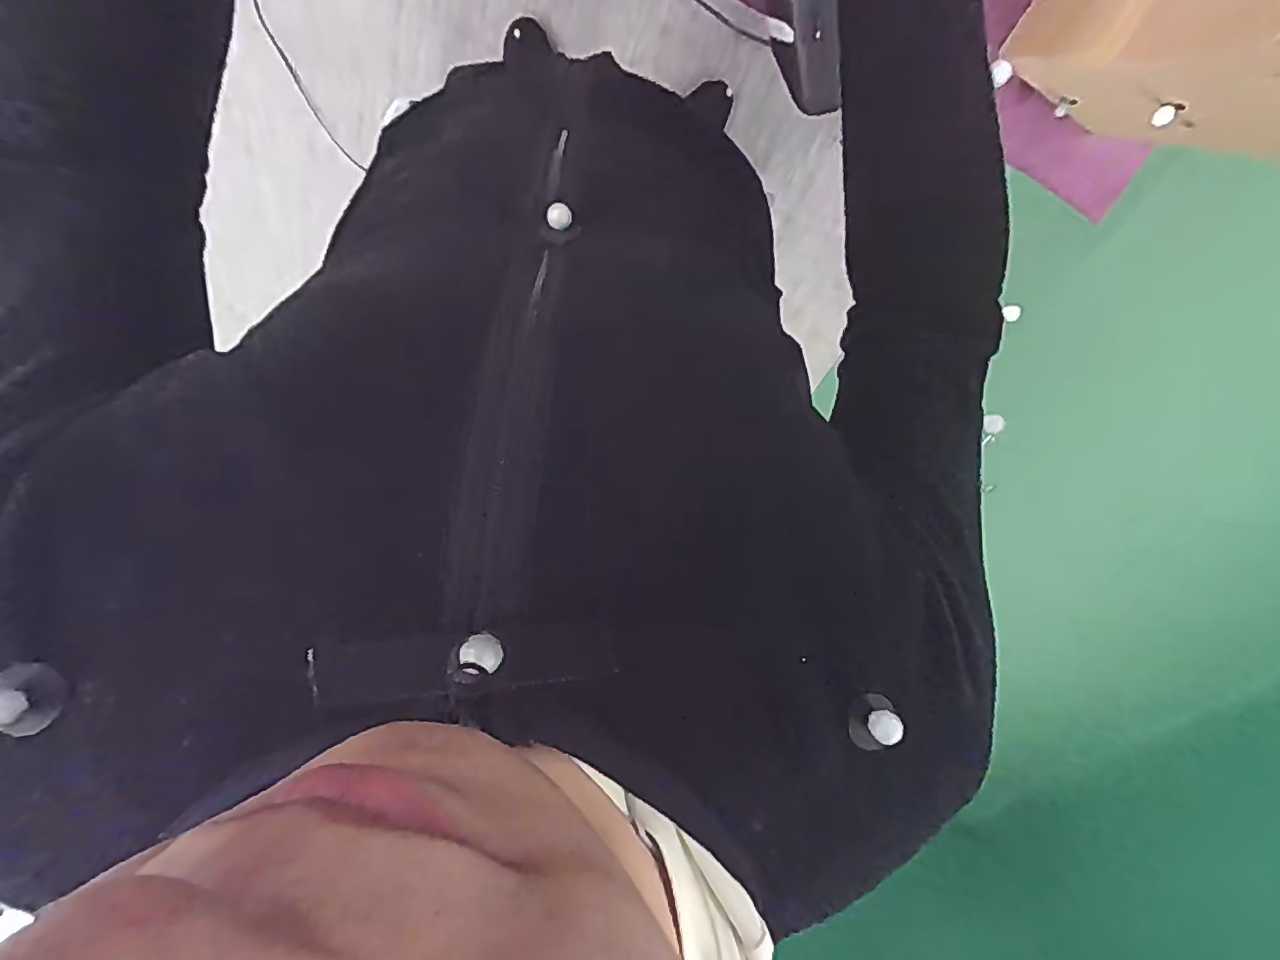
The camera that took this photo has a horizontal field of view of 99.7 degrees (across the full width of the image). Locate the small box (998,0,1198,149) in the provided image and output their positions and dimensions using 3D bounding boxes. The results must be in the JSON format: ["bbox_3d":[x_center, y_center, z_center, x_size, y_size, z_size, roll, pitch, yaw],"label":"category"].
[{"bbox_3d":[0.514,-0.465,0.533,0.179,0.176,0.168,20,125,-16],"label":"small box"}]
